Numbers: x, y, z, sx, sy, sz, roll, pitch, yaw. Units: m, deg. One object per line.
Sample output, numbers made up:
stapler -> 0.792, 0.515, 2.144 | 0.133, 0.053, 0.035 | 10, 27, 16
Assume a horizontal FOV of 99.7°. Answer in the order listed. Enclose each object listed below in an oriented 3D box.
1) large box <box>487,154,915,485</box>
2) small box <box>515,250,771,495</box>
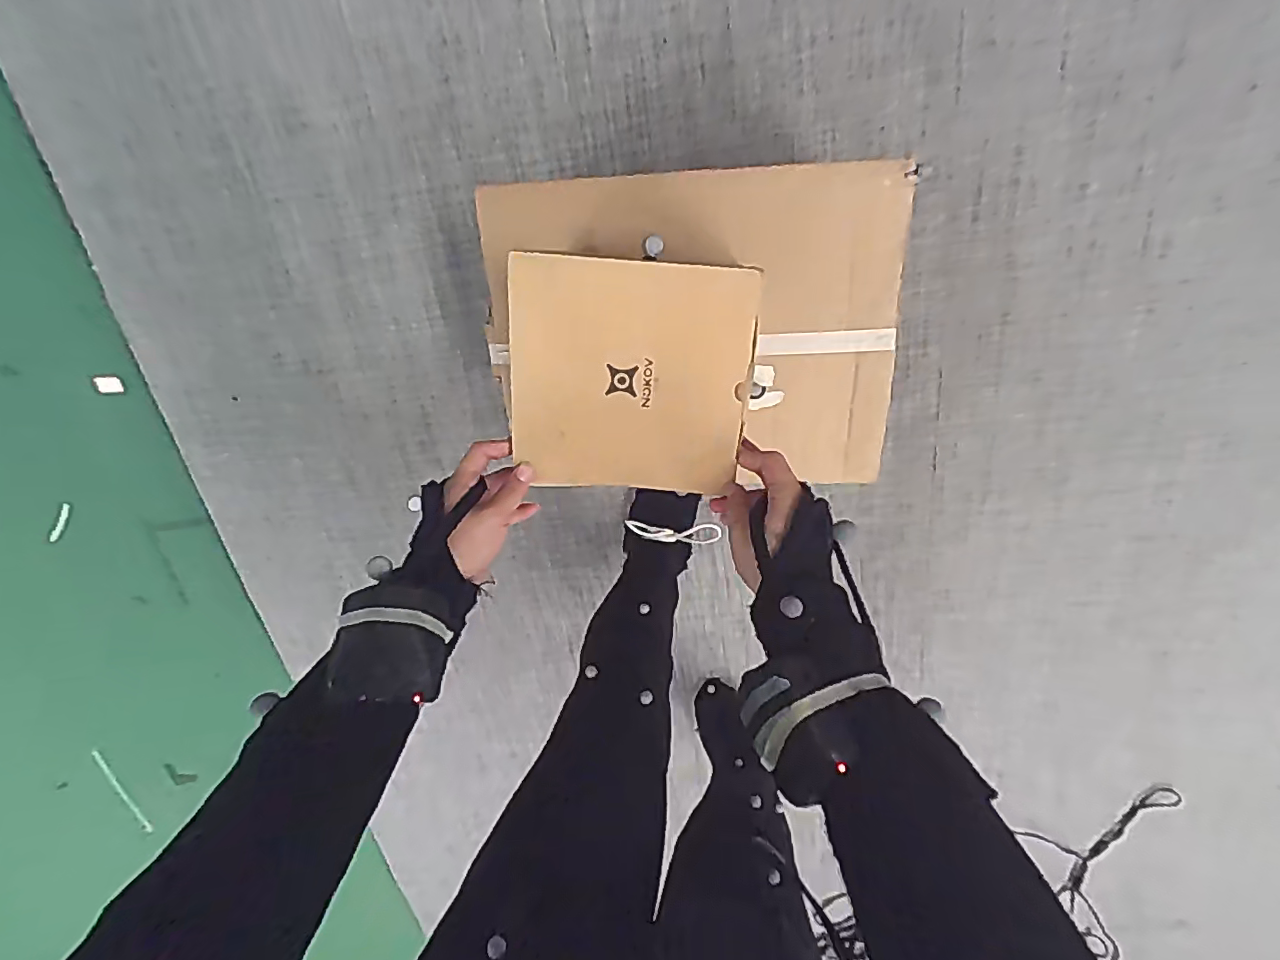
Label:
large box -> 0.067, -0.197, 0.691 | 0.408, 0.320, 0.320 | -1, 113, 5
small box -> 0.002, -0.100, 0.466 | 0.179, 0.176, 0.168 | 5, 112, 2
